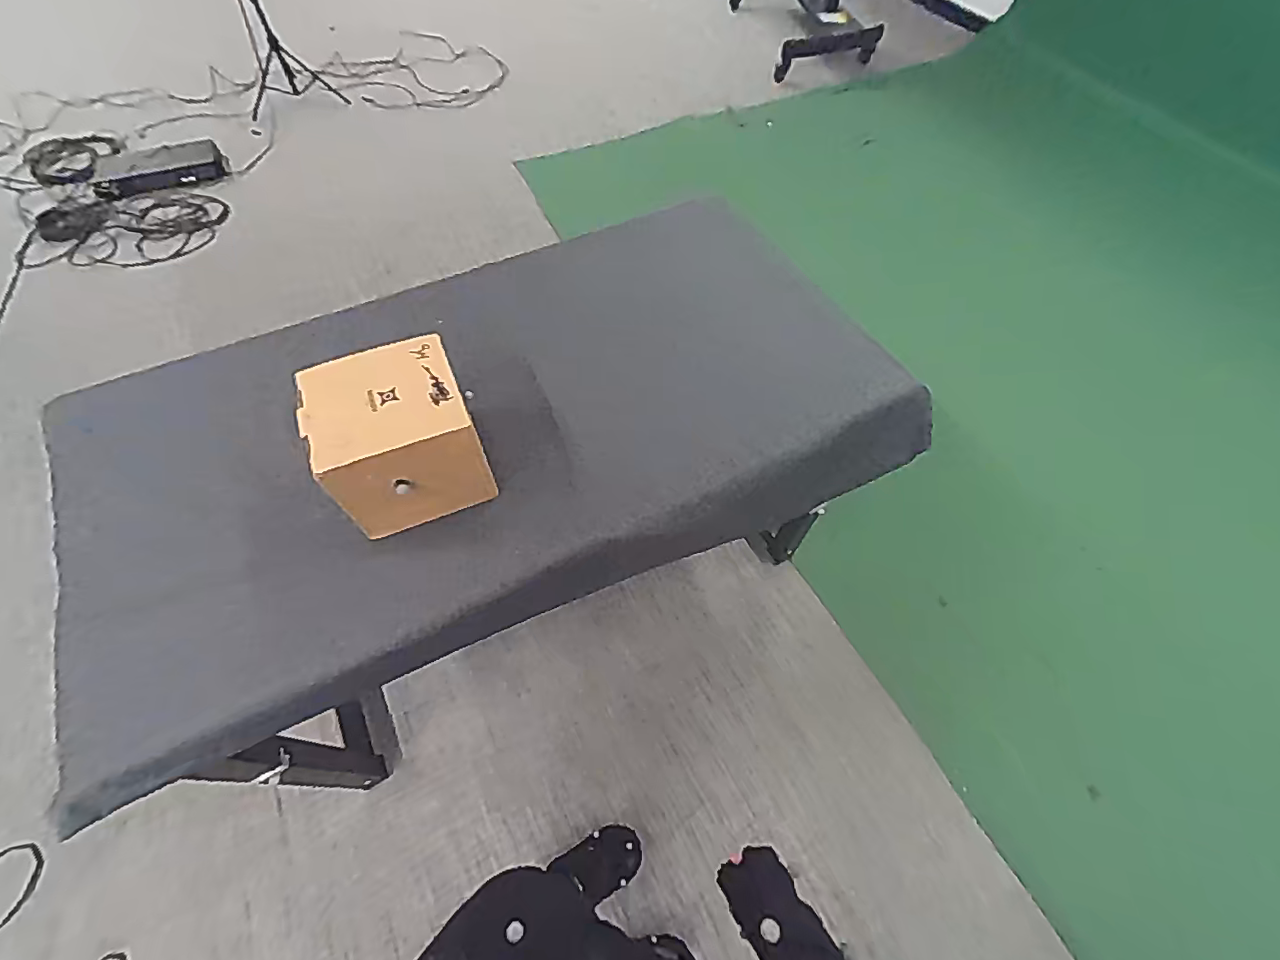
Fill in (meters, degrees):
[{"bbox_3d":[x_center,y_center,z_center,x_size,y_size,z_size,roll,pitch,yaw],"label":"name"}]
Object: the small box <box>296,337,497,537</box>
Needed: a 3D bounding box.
[{"bbox_3d":[-0.308,-0.050,0.707,0.179,0.176,0.168,-21,62,-12],"label":"small box"}]
